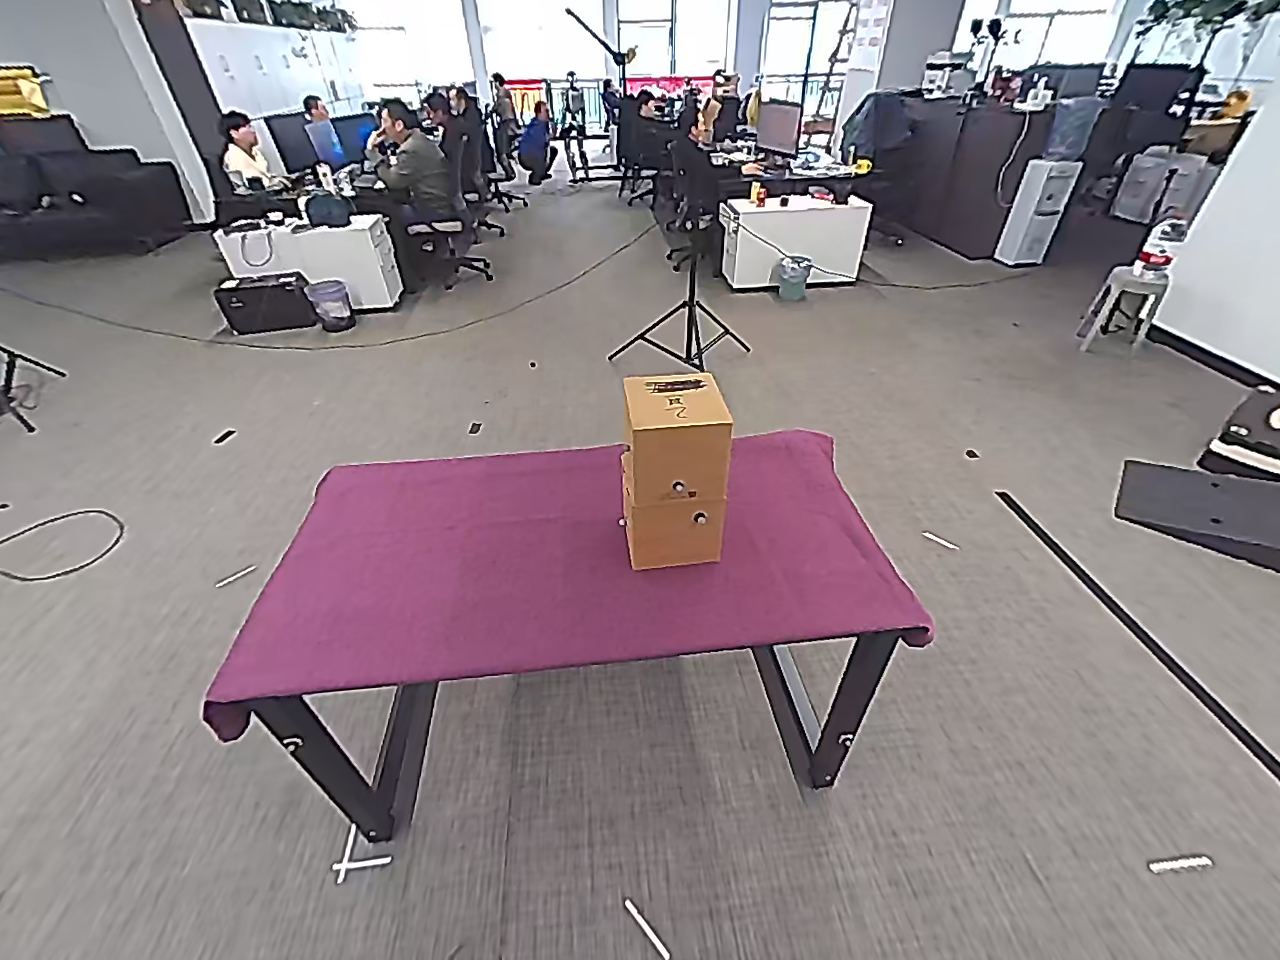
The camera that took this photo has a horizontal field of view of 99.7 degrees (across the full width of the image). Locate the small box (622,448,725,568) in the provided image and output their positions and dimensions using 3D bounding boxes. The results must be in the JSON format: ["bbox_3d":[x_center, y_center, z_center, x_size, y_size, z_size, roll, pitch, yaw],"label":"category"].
[{"bbox_3d":[0.060,0.056,1.081,0.179,0.176,0.168,-6,38,-5],"label":"small box"}]
